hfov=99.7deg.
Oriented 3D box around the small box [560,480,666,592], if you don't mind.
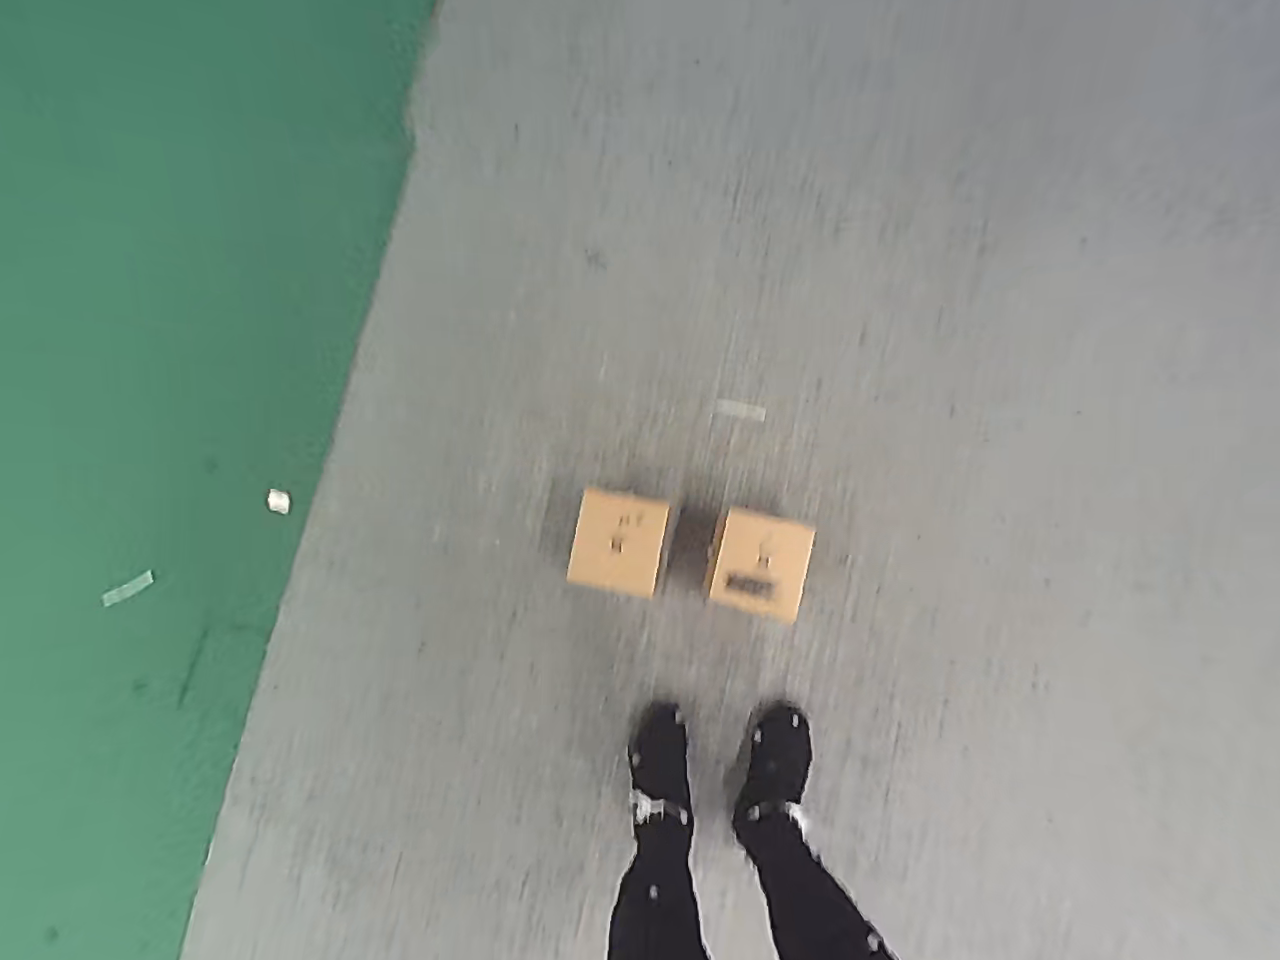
[{"bbox_3d":[-0.048,0.110,1.076,0.168,0.176,0.179,13,85,2],"label":"small box"}]
